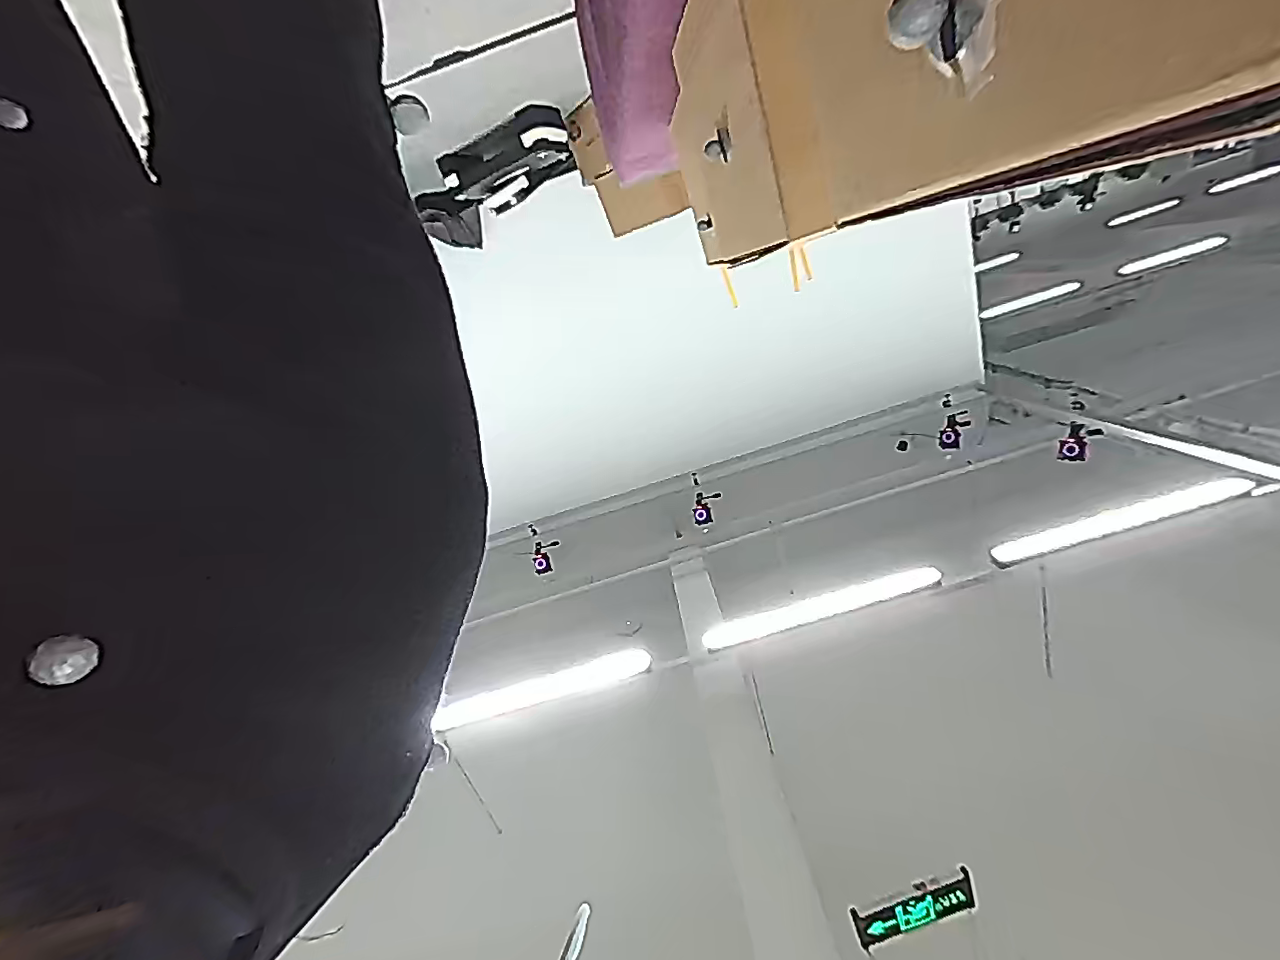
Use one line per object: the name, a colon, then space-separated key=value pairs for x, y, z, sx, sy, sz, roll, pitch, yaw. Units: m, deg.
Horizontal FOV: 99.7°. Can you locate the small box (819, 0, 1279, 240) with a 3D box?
small box: x=0.138 y=-0.170 z=0.111 sx=0.168 sy=0.176 sz=0.179 roll=-18 pitch=-160 yaw=3
